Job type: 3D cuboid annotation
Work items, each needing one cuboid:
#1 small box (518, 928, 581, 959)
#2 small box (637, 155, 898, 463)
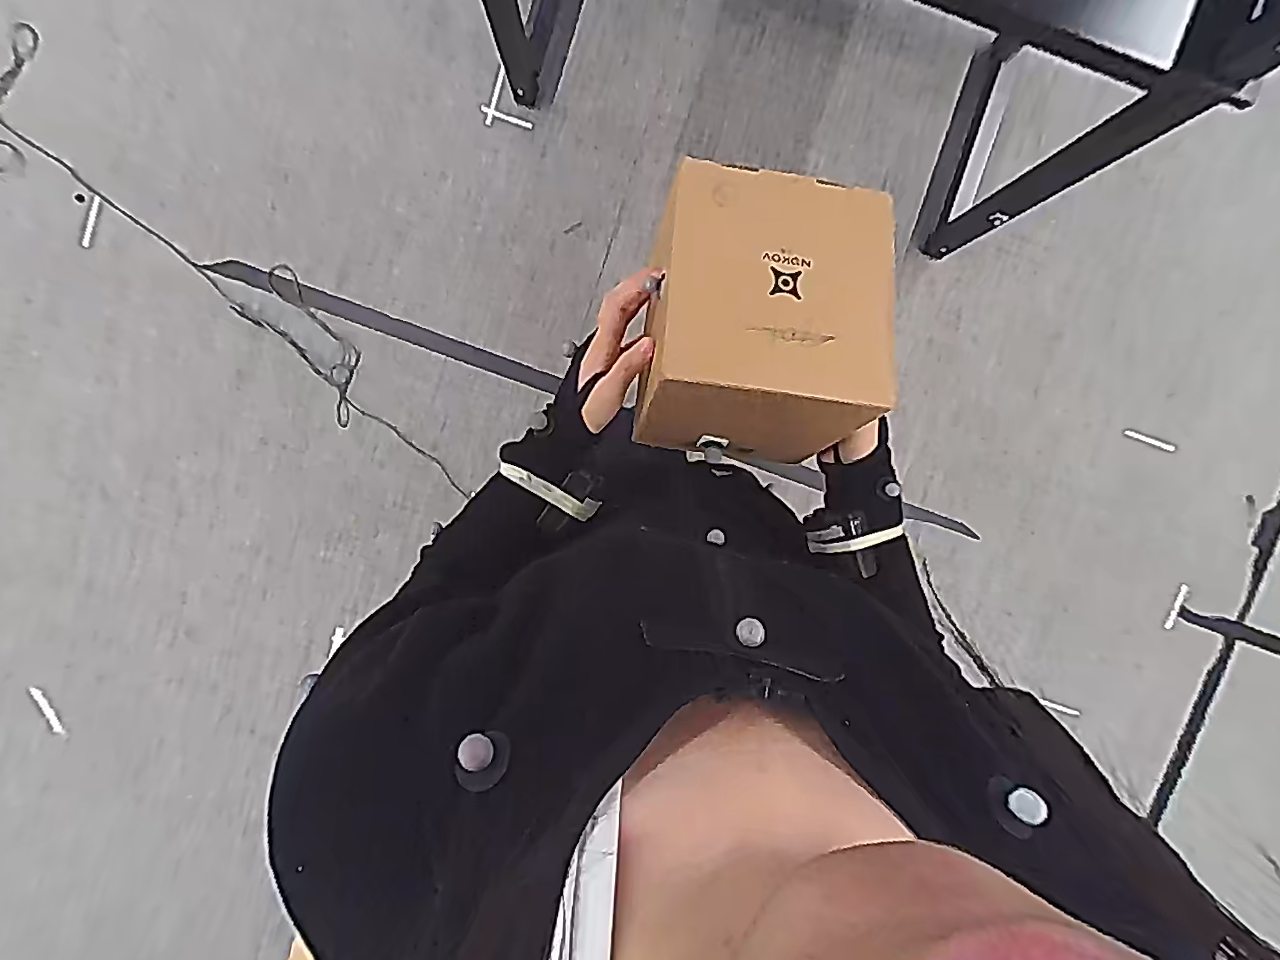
[{"bbox_3d":[-0.262,1.414,1.524,0.179,0.176,0.168,6,95,-4],"label":"small box"},{"bbox_3d":[0.092,-0.125,0.457,0.168,0.176,0.179,6,78,-6],"label":"small box"}]
